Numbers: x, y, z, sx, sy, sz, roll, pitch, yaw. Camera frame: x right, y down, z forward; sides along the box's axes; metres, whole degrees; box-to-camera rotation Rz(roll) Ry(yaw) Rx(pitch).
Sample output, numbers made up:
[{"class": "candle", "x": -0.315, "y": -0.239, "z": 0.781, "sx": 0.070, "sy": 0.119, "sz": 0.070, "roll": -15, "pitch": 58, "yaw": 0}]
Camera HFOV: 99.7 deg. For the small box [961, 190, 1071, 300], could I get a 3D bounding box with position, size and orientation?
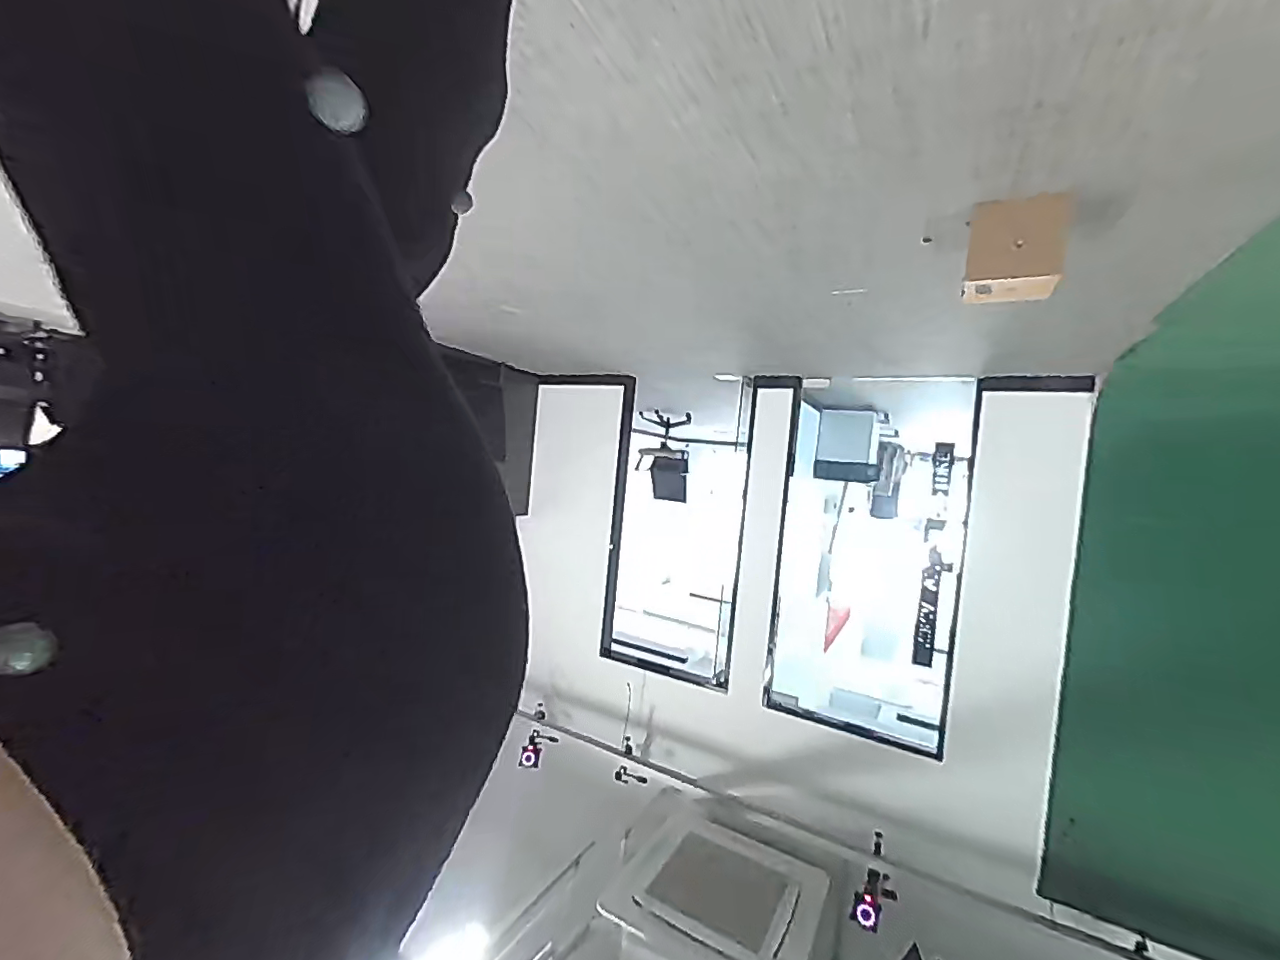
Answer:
[{"class": "small box", "x": 0.828, "y": -0.516, "z": 1.204, "sx": 0.179, "sy": 0.176, "sz": 0.168, "roll": 4, "pitch": -178, "yaw": 28}]
